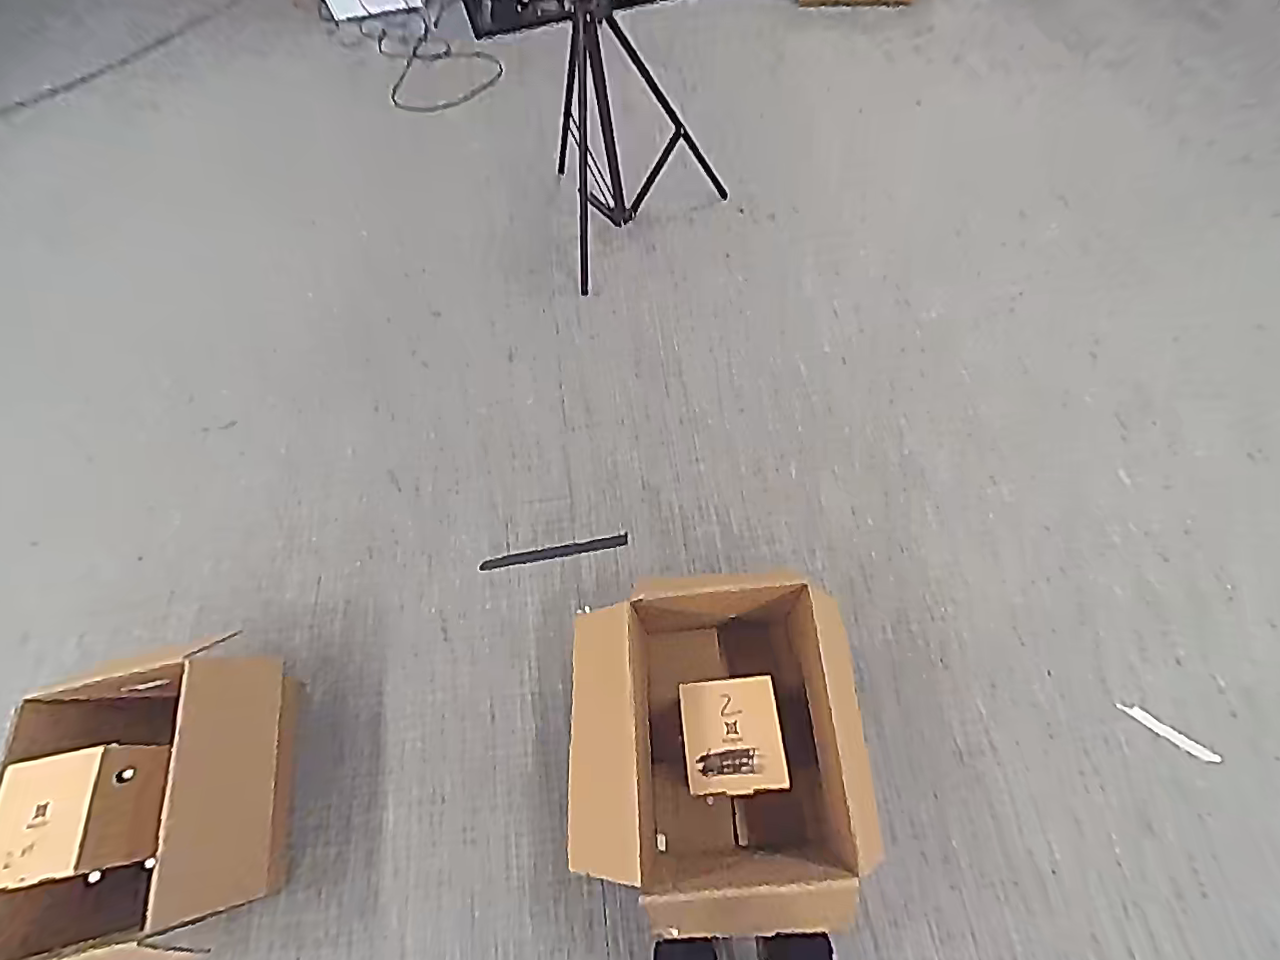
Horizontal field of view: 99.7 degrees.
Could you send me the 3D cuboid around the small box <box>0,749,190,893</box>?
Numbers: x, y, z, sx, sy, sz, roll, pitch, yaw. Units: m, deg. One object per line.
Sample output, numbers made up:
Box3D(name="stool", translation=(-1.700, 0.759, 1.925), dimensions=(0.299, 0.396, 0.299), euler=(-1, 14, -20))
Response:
Box3D(name="small box", translation=(-0.909, 0.561, 0.905), dimensions=(0.168, 0.176, 0.179), euler=(-12, 63, 2))
